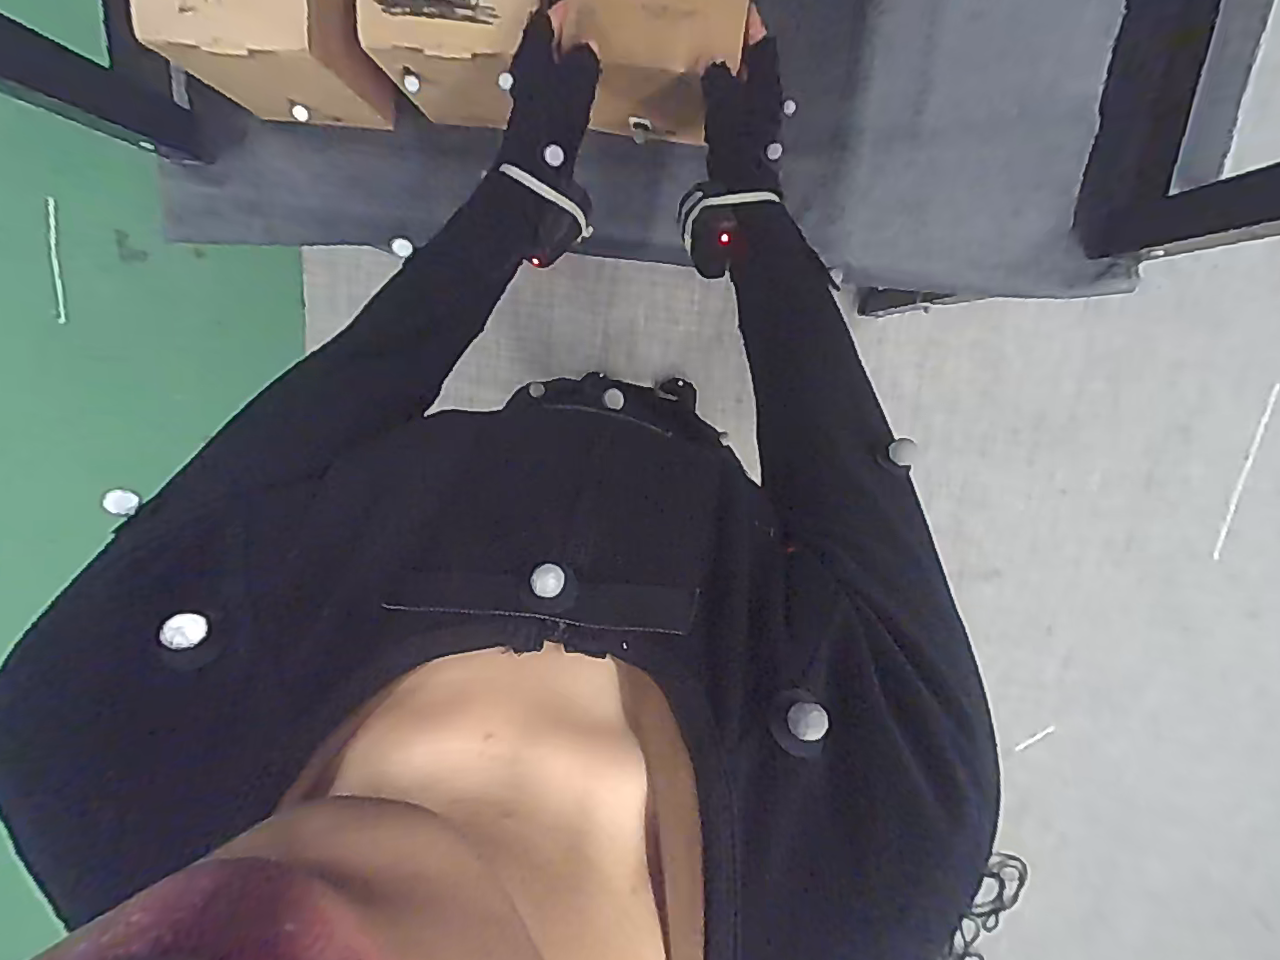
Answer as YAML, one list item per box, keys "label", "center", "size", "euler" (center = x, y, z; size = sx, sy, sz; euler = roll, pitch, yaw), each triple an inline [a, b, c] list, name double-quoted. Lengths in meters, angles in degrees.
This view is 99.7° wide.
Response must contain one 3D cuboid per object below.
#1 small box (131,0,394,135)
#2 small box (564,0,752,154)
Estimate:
- label: "small box"
  center: [-0.371, -0.493, 0.558]
  size: [0.168, 0.176, 0.179]
  euler: [5, 102, 0]
- label: "small box"
  center: [0.024, -0.469, 0.556]
  size: [0.168, 0.176, 0.179]
  euler: [7, 103, 2]
